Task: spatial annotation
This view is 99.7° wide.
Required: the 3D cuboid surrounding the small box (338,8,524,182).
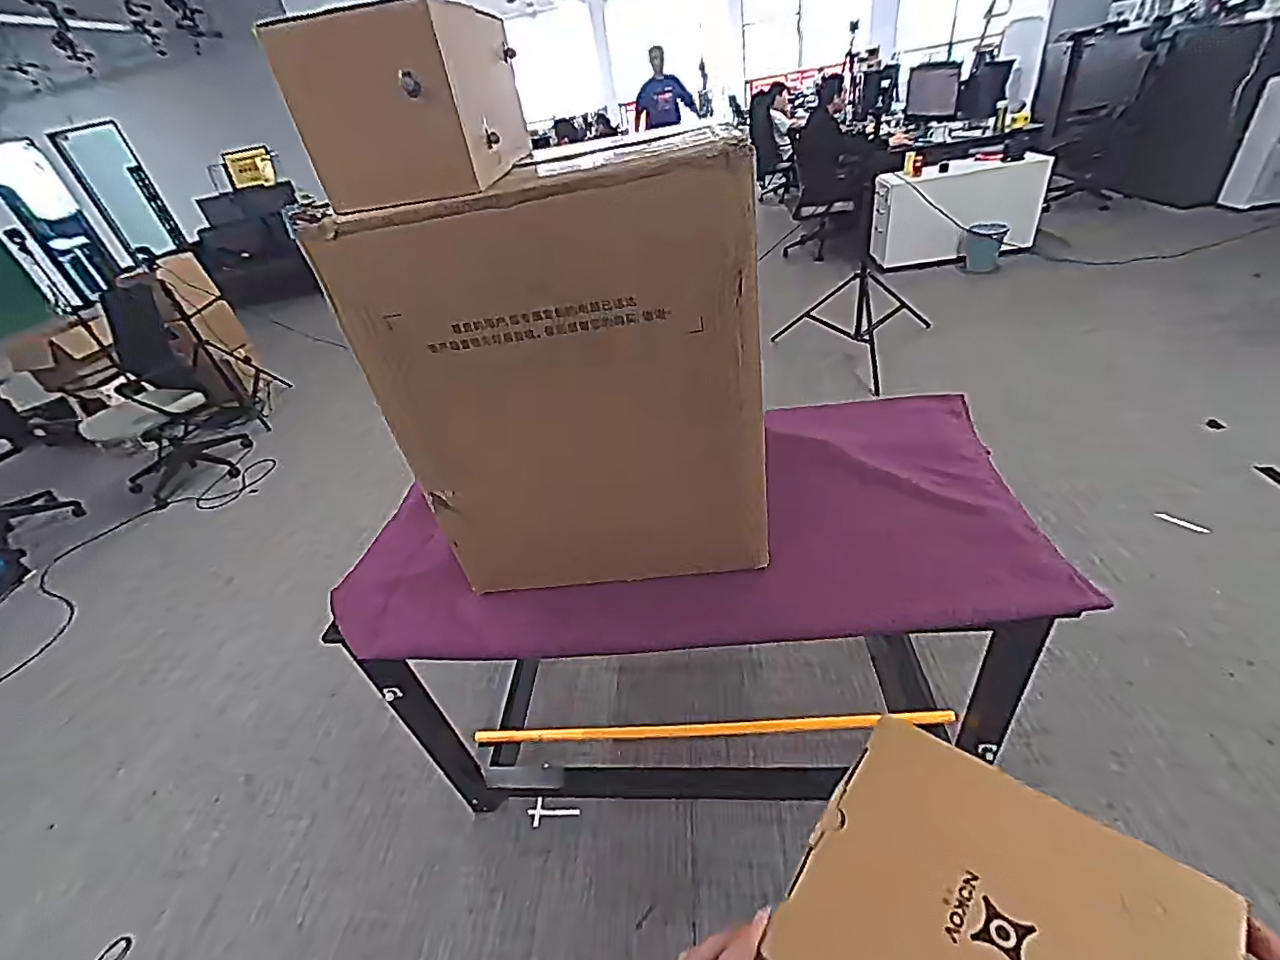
[{"bbox_3d":[-0.272,-0.527,0.756,0.168,0.176,0.179,-6,36,7],"label":"small box"}]
